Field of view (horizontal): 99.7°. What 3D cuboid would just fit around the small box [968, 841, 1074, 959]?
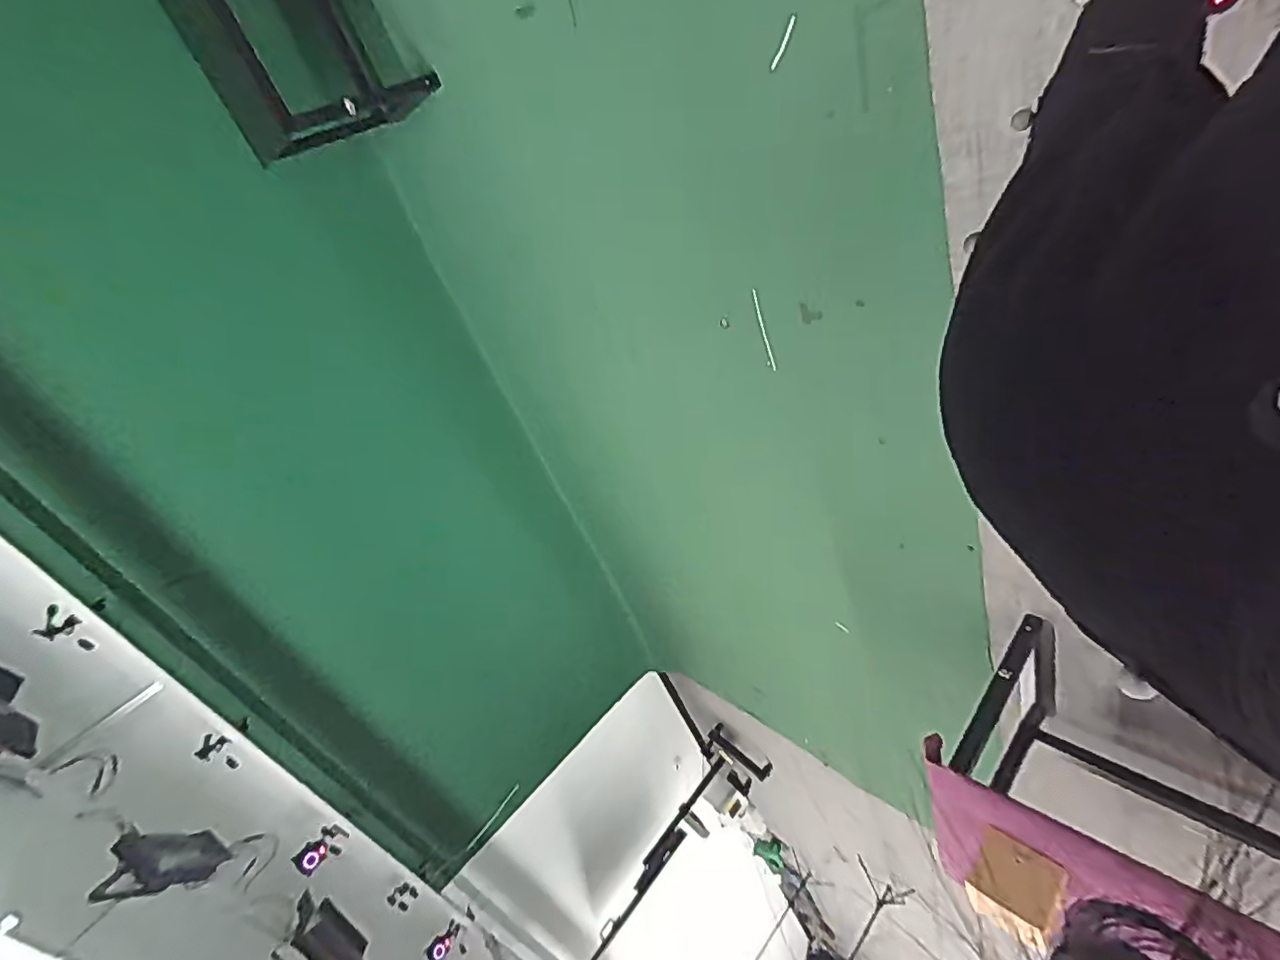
[{"bbox_3d":[0.973,1.068,1.382,0.179,0.176,0.168,16,139,49],"label":"small box"}]
